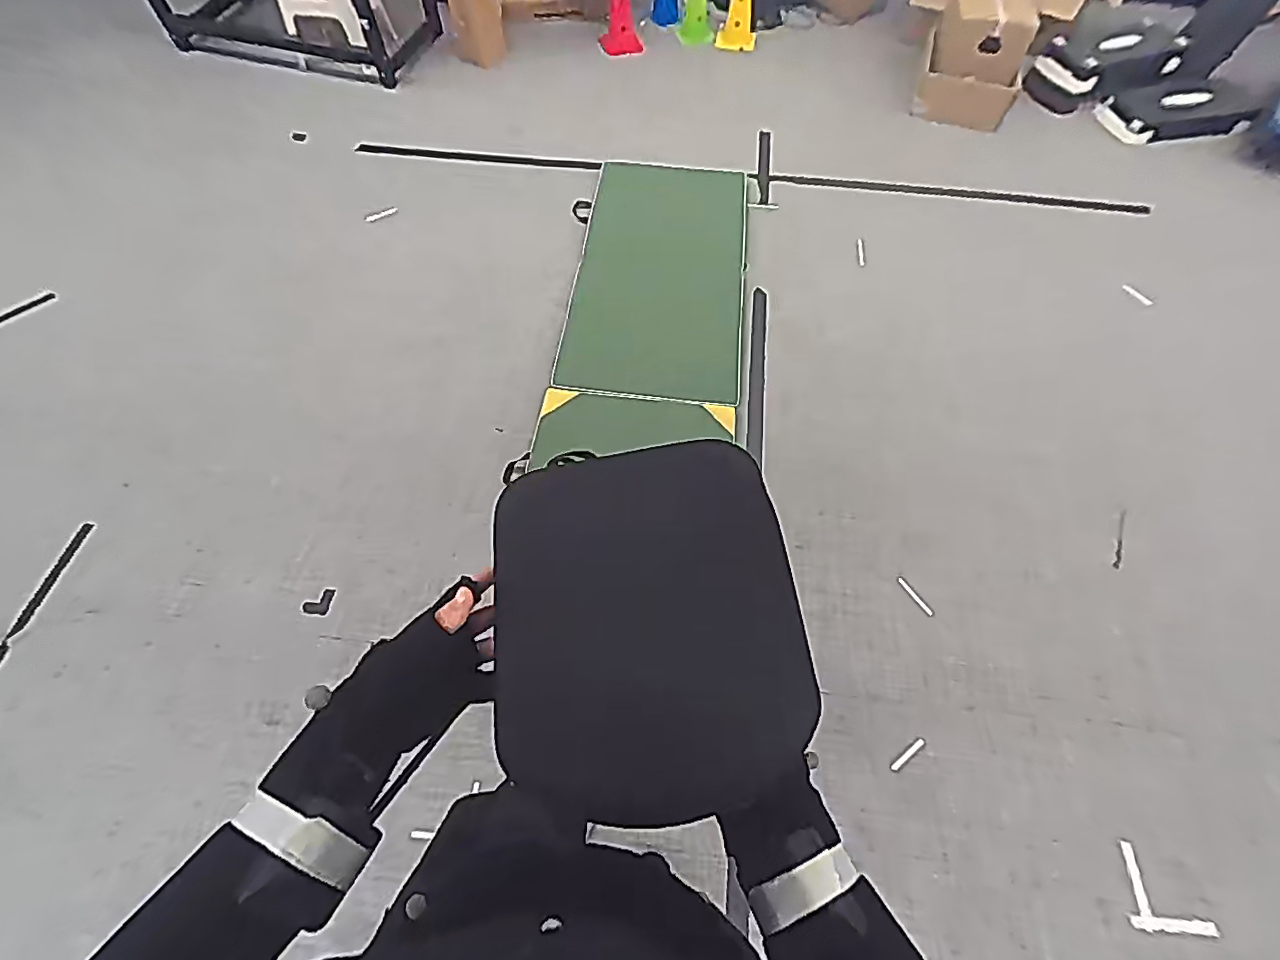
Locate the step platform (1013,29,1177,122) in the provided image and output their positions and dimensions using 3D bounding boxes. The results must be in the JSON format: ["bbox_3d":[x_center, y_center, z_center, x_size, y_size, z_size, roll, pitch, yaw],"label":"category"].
[{"bbox_3d":[2.194,-1.956,2.607,0.684,0.204,0.286,-20,65,-11],"label":"step platform"}]
